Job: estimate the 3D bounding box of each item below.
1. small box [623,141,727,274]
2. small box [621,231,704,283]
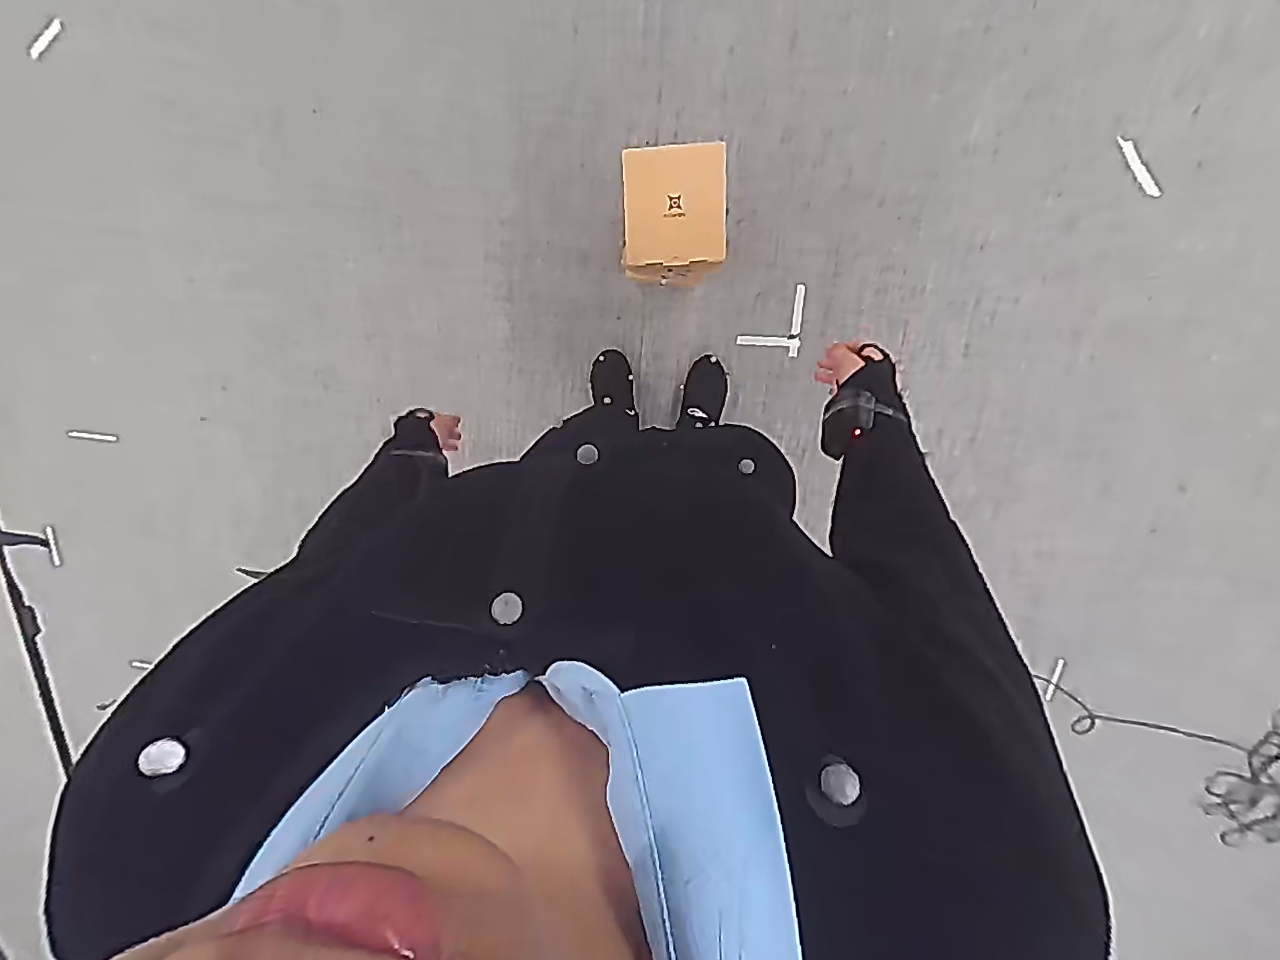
[{"bbox_3d":[0.062,-0.462,0.941,0.168,0.176,0.179,-1,106,6],"label":"small box"},{"bbox_3d":[0.063,-0.508,1.098,0.168,0.176,0.179,10,107,3],"label":"small box"}]
